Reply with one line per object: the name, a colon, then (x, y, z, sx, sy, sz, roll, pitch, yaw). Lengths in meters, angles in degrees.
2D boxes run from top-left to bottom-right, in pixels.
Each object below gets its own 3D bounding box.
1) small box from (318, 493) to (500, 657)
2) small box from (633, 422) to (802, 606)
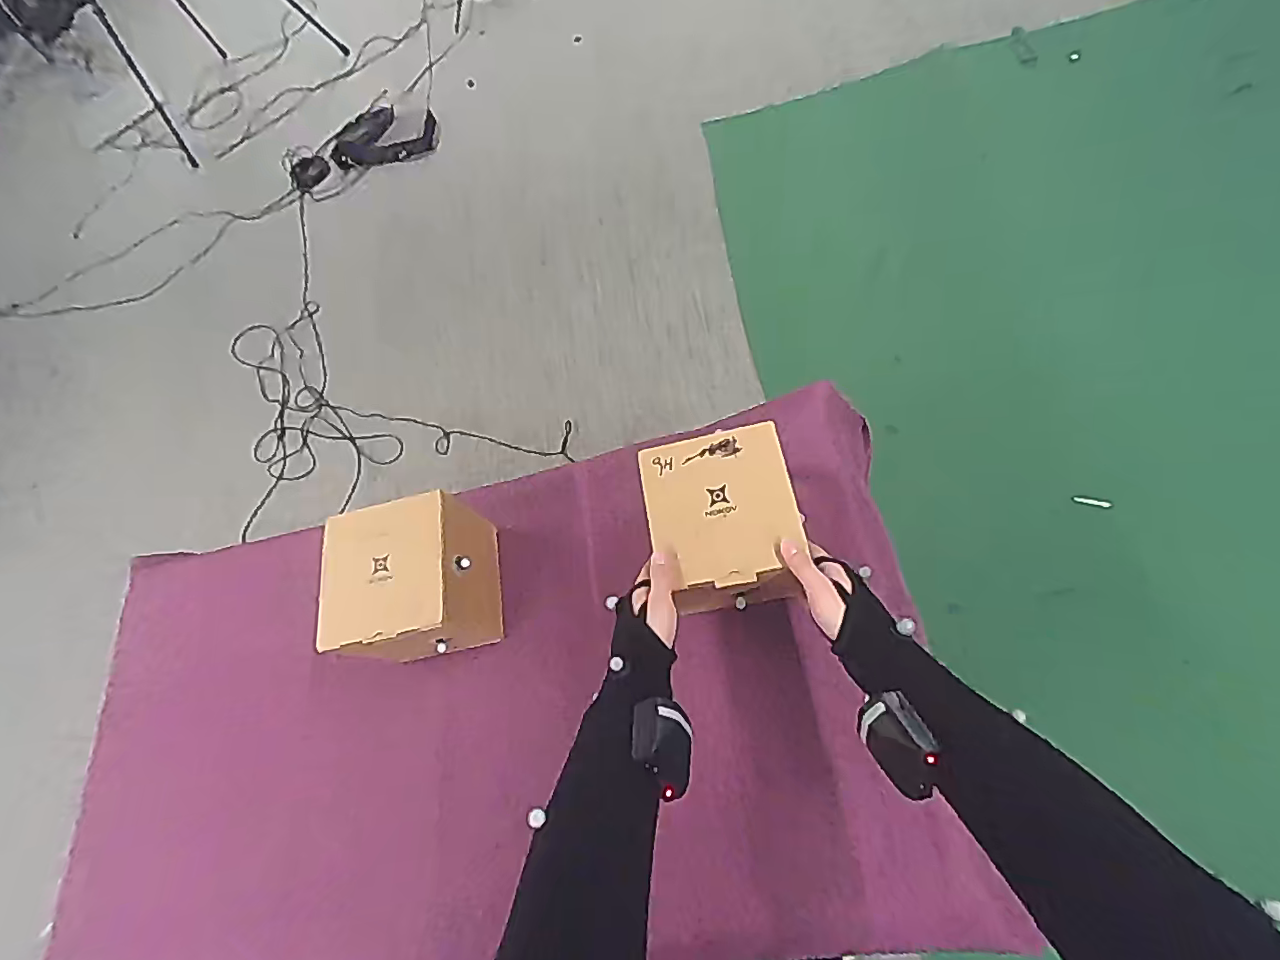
small box: (-0.303, 0.140, 0.741, 0.168, 0.176, 0.179, -13, 66, 7)
small box: (0.100, 0.056, 0.677, 0.168, 0.176, 0.179, -13, 67, 8)
